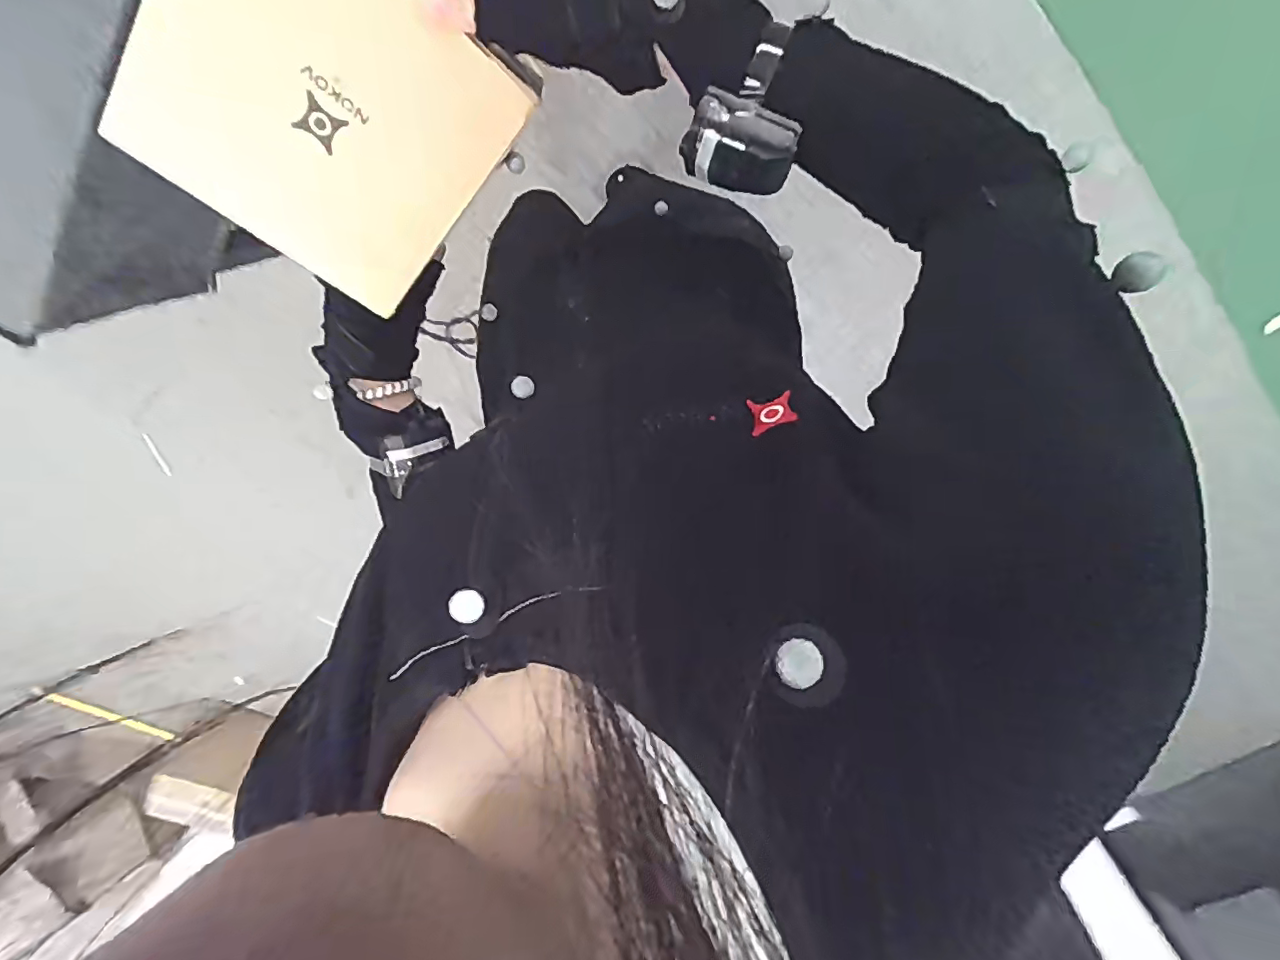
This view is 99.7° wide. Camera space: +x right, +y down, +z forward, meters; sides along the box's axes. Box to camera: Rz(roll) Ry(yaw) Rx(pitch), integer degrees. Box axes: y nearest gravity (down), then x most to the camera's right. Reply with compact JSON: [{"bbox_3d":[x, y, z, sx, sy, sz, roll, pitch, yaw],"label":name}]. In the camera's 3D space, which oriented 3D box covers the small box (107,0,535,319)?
[{"bbox_3d":[-0.181,-0.250,0.358,0.168,0.176,0.179,34,118,-32],"label":"small box"}]
